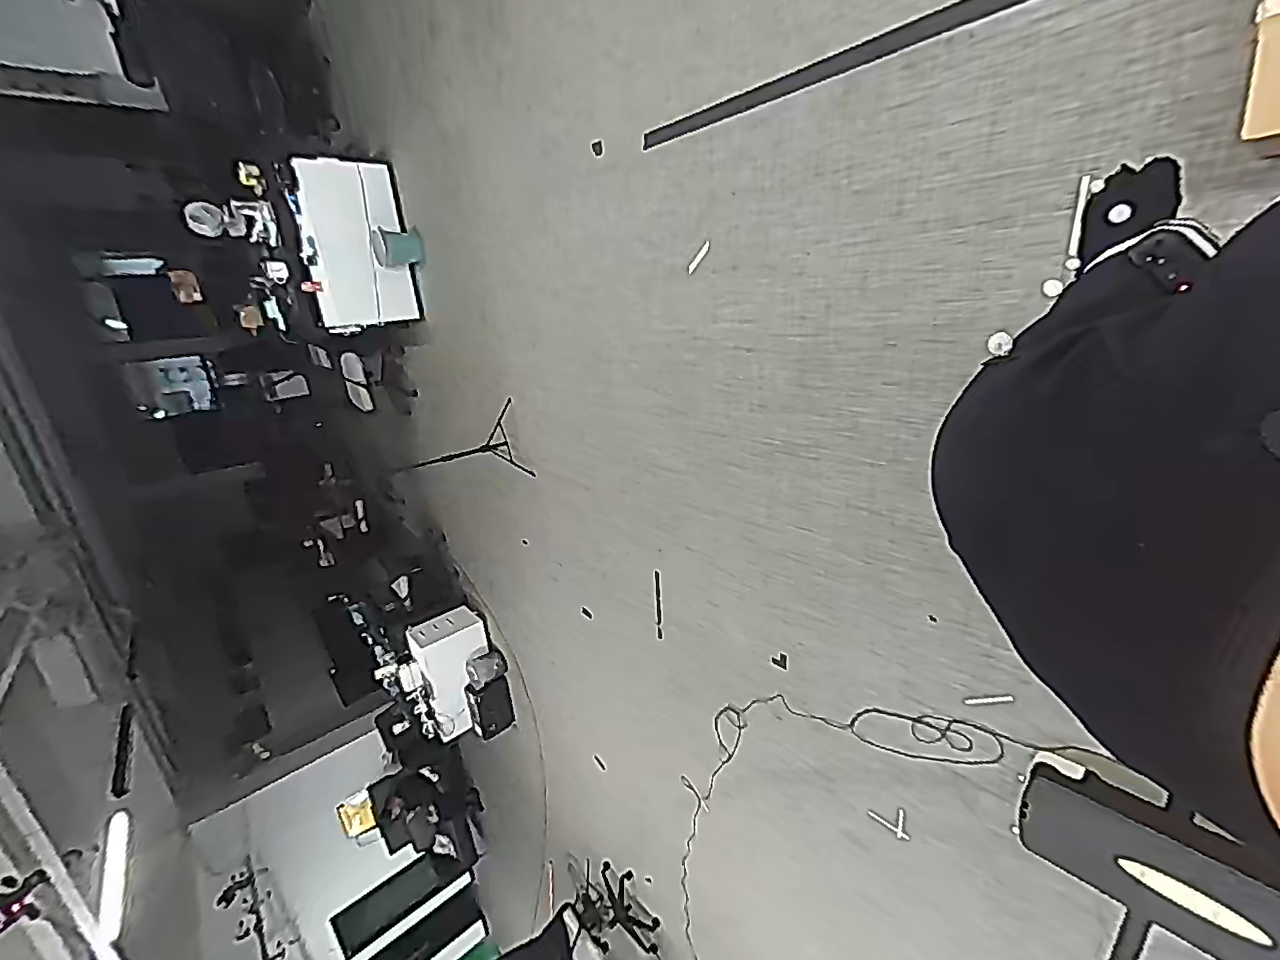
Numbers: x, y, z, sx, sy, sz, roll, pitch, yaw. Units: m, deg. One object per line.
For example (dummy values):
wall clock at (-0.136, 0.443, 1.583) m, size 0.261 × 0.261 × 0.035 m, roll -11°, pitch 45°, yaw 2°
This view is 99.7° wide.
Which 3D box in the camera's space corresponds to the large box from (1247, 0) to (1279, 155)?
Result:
large box at (1.058, -0.637, 0.652) m, size 0.408 × 0.320 × 0.320 m, roll 12°, pitch 116°, yaw 47°
